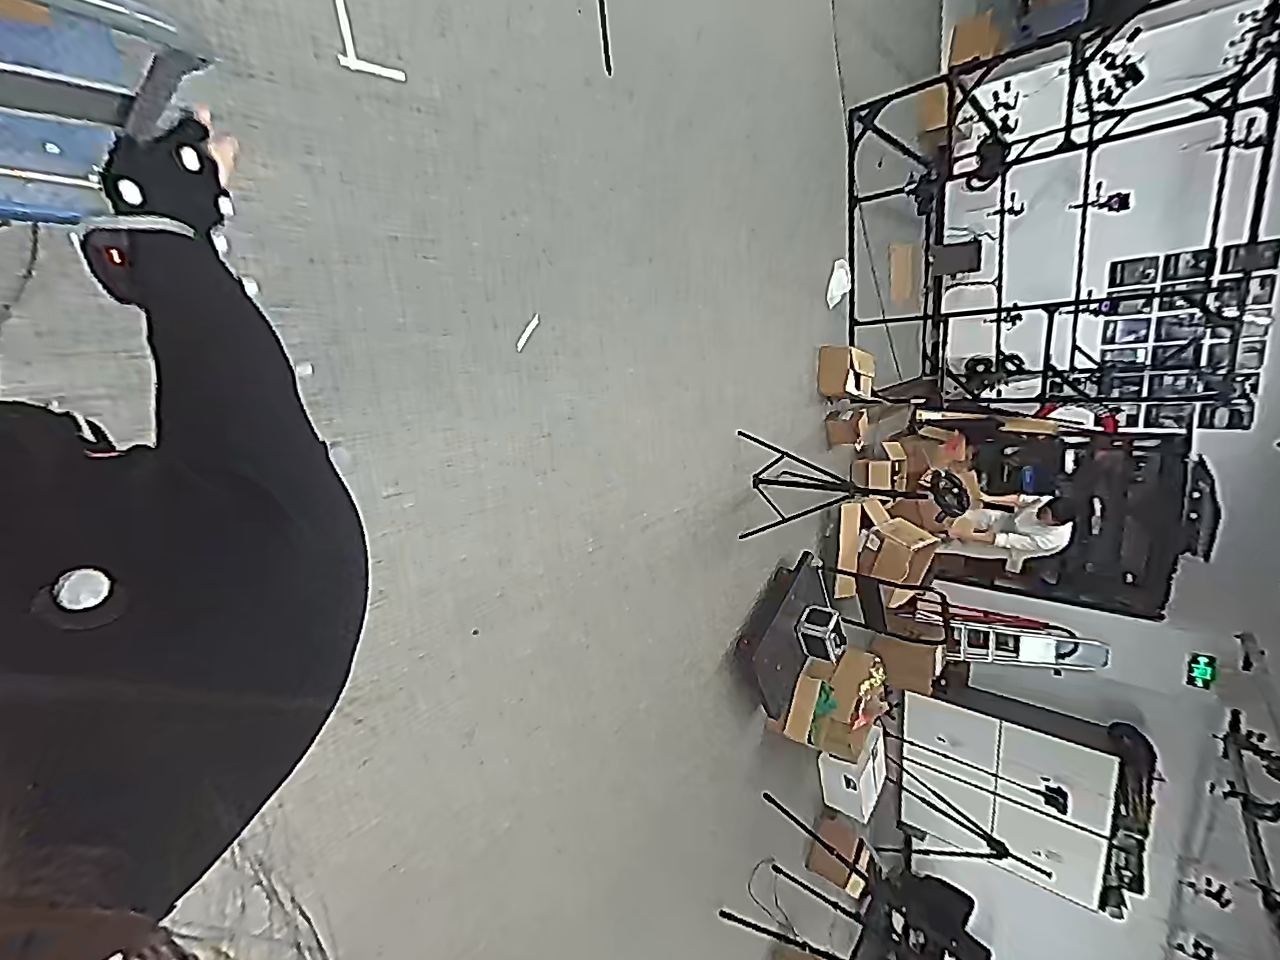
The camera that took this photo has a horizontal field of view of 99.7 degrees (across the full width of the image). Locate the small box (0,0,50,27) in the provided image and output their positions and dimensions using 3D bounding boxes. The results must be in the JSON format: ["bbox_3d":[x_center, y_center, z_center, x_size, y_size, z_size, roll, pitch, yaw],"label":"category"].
[{"bbox_3d":[-0.973,-0.779,0.752,0.179,0.176,0.168,-25,113,-45],"label":"small box"}]
